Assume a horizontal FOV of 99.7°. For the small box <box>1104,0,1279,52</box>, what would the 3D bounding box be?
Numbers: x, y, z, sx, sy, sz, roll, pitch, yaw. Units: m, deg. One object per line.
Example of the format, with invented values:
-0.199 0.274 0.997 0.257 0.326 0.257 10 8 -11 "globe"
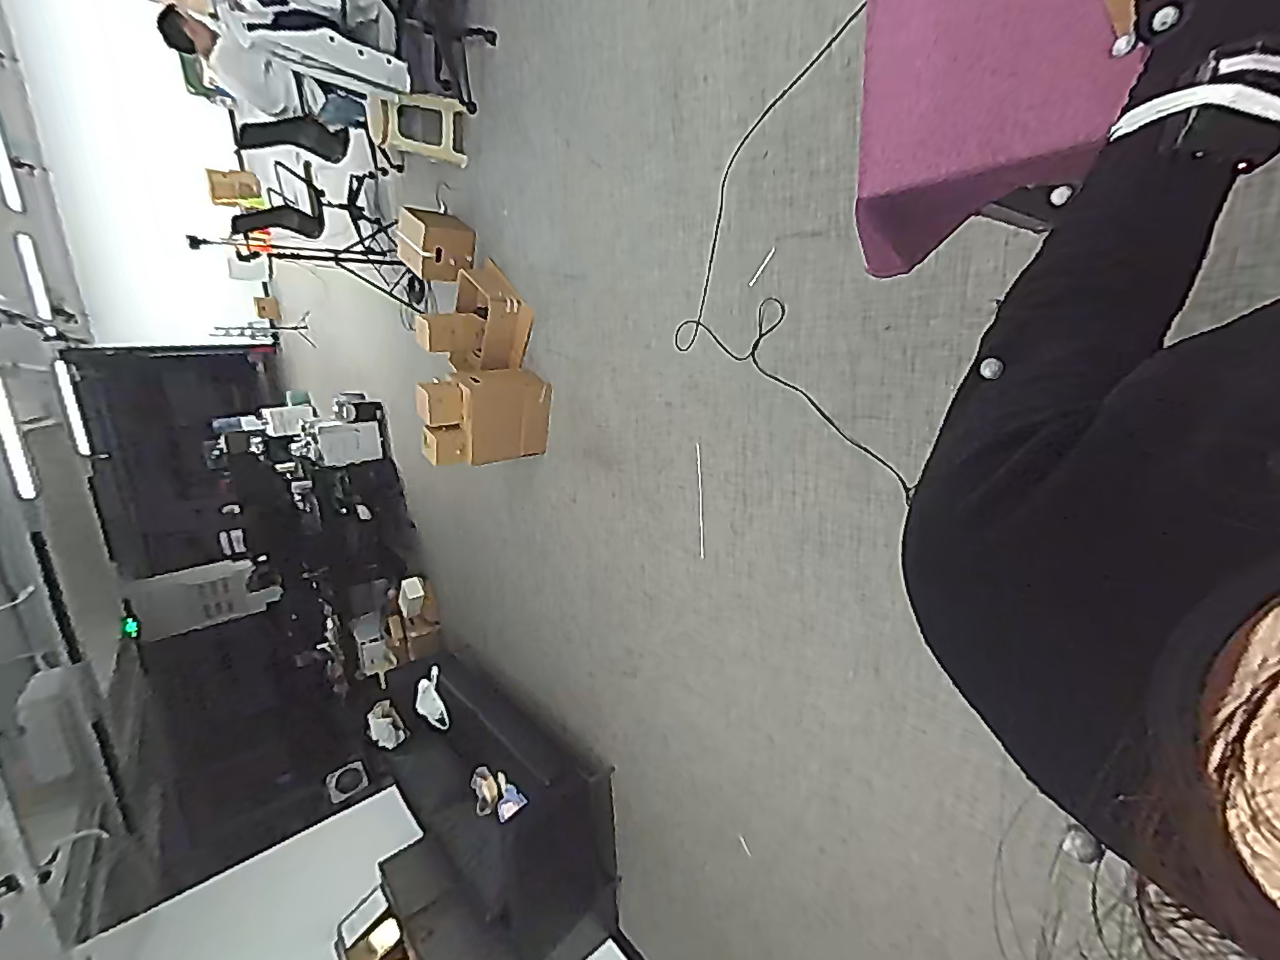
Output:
0.493 -0.504 0.435 0.168 0.176 0.179 16 105 48 "small box"
